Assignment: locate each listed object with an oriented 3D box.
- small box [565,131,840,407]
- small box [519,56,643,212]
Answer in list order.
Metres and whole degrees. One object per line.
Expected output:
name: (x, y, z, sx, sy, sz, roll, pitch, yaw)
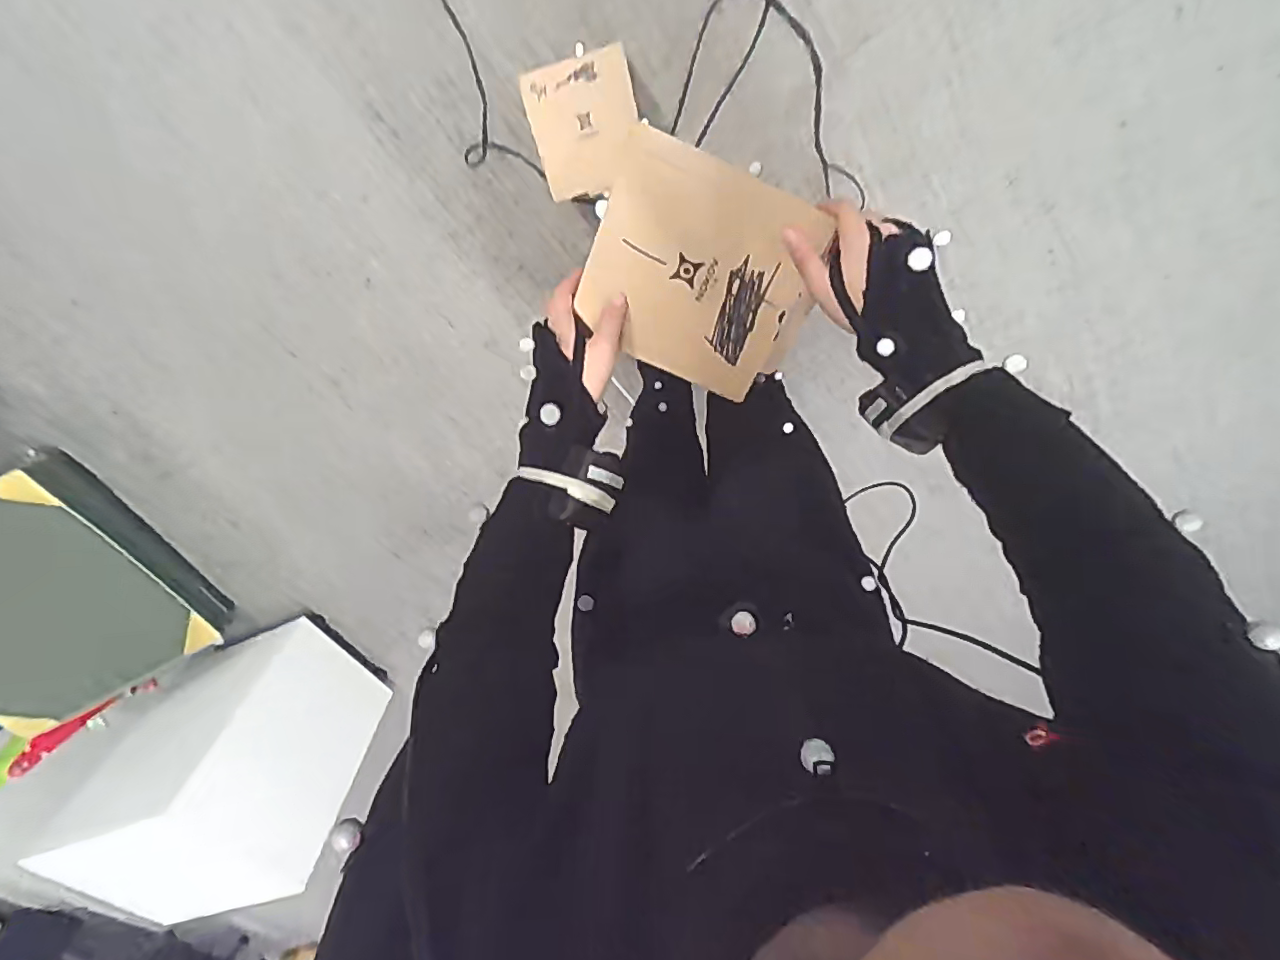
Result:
small box: (0.051, -0.199, 0.510, 0.179, 0.176, 0.168, 22, 118, -8)
small box: (-0.080, -0.570, 0.902, 0.168, 0.176, 0.179, -12, 120, 9)
